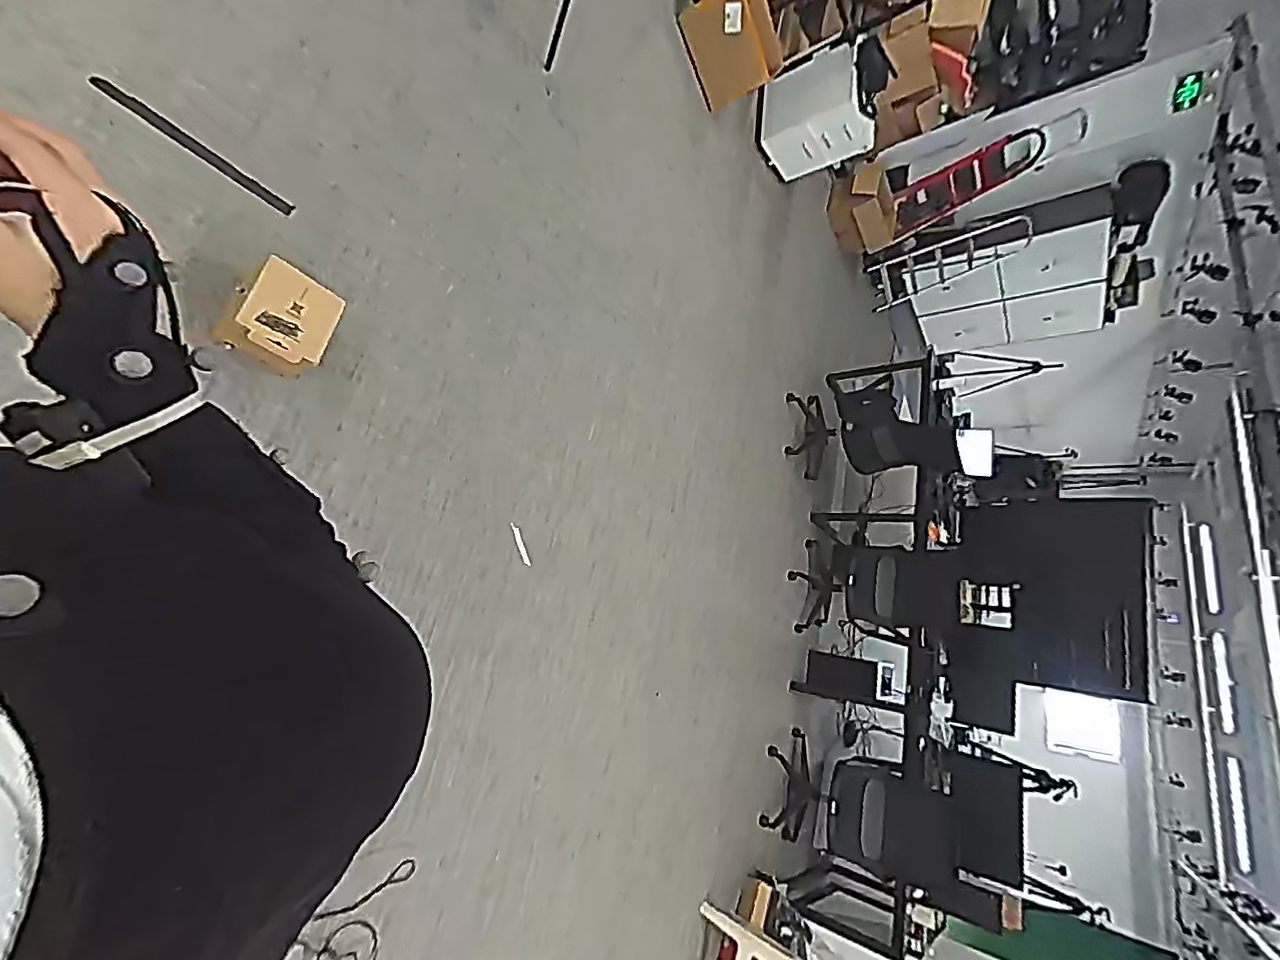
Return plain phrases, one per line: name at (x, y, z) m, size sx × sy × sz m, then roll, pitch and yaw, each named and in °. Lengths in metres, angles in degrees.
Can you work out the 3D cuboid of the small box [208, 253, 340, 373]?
small box at (-0.807, -0.356, 1.188) m, size 0.168 × 0.176 × 0.179 m, roll 35°, pitch 61°, yaw -47°
